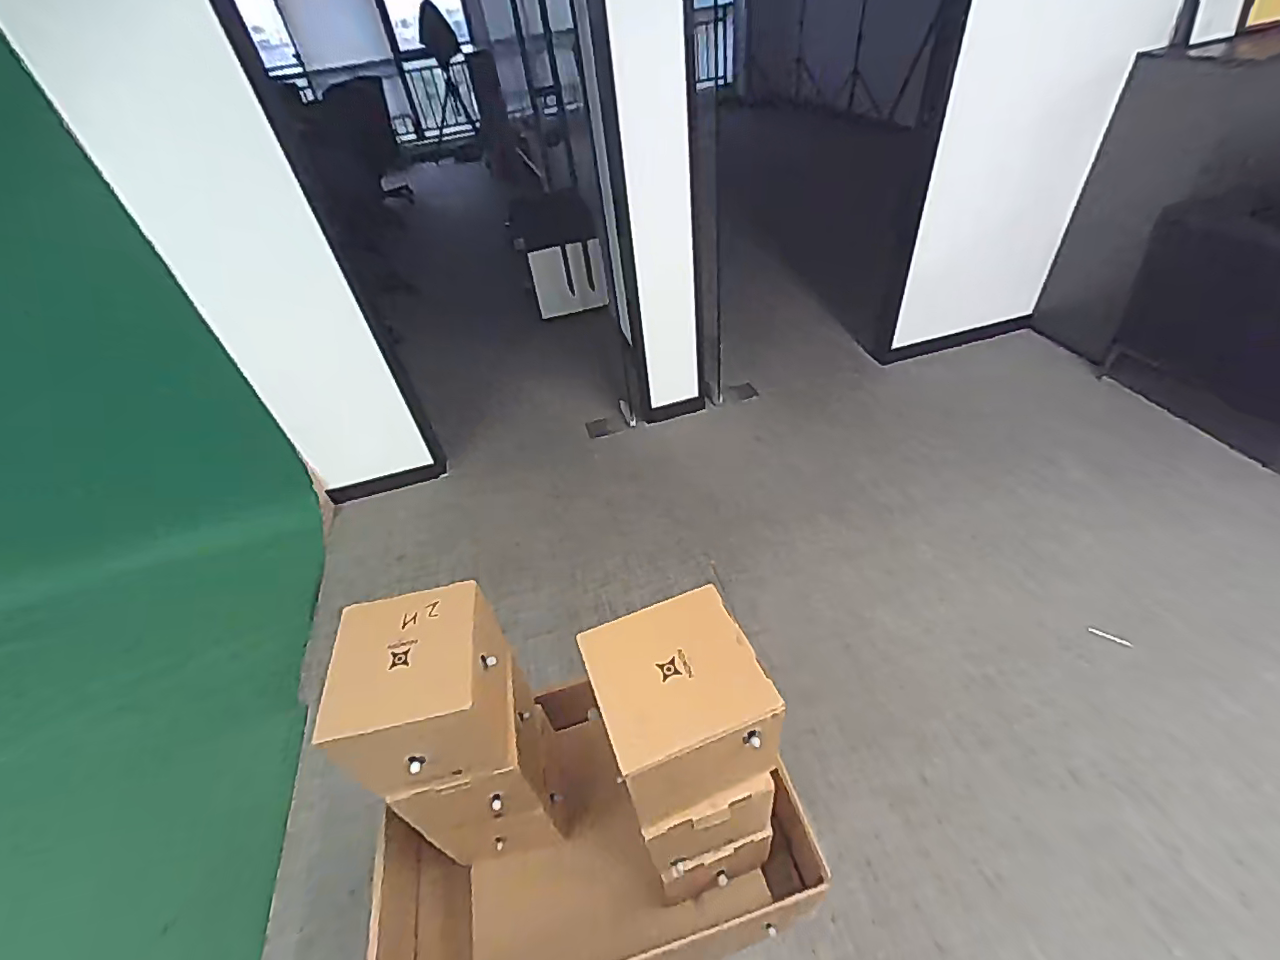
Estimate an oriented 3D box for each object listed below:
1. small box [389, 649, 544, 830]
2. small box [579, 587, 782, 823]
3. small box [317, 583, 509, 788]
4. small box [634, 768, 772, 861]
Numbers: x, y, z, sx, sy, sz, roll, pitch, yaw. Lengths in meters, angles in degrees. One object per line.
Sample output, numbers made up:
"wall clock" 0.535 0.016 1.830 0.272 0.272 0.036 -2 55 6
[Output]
"small box" -0.242 0.382 0.787 0.168 0.176 0.179 -12 42 -6
"small box" 0.045 0.262 0.631 0.179 0.176 0.168 -18 43 -12
"small box" -0.264 0.262 0.678 0.168 0.176 0.179 -10 43 -5
"small box" 0.065 0.385 0.734 0.168 0.176 0.179 -16 43 -9
